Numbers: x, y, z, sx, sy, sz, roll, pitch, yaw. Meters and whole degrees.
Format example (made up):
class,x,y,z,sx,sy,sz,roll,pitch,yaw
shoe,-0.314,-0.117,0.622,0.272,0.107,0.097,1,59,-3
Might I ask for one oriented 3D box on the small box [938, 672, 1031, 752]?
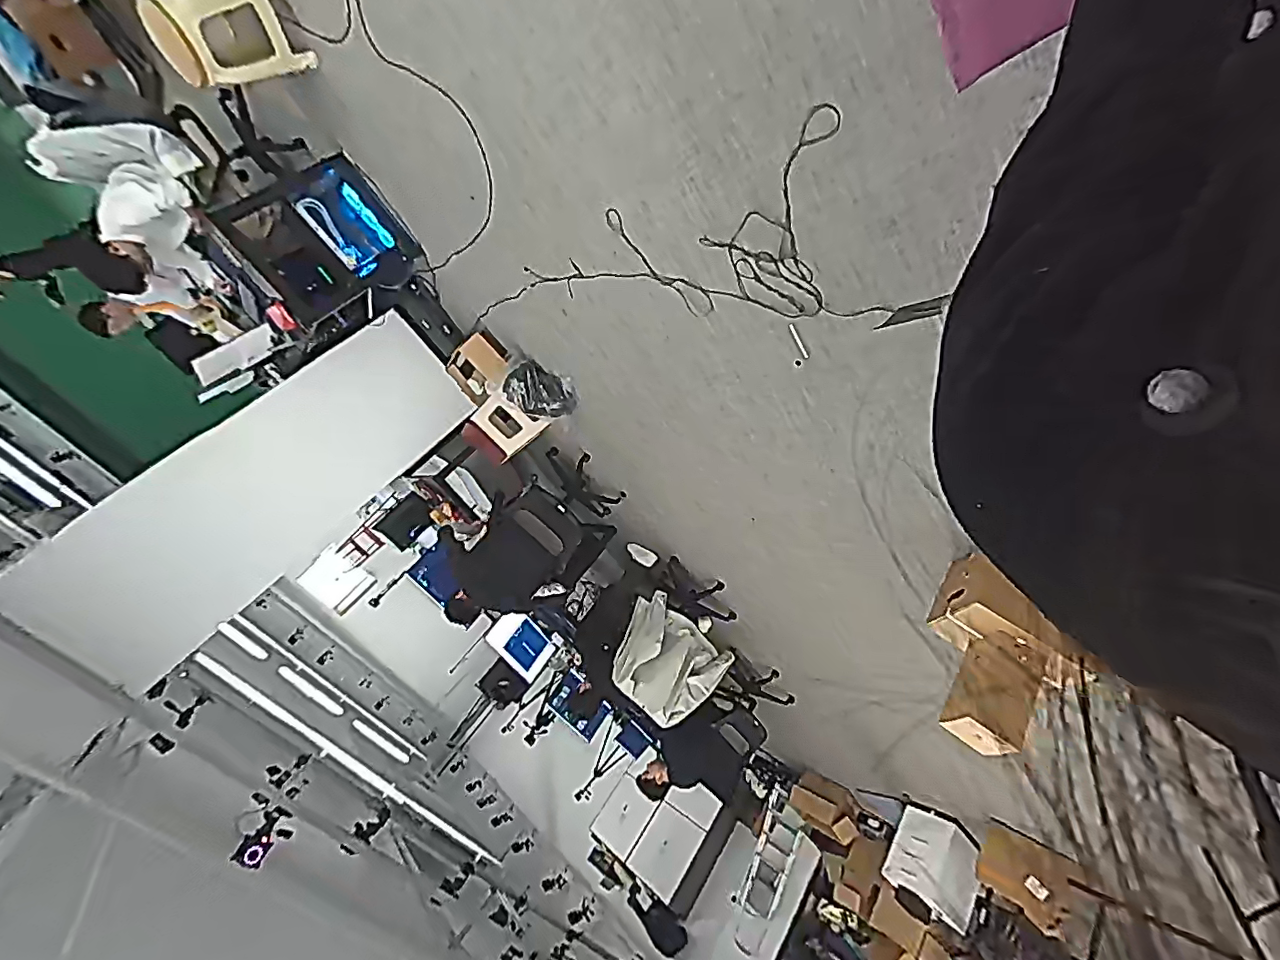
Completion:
class,x,y,z,sx,sy,sz,roll,pitch,yaw
small box,1.107,0.743,1.733,0.168,0.176,0.179,34,154,13

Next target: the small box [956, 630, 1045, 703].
class,x,y,z,sx,sy,sz,roll,pitch,yaw
small box,1.204,0.630,1.802,0.168,0.176,0.179,34,152,14
